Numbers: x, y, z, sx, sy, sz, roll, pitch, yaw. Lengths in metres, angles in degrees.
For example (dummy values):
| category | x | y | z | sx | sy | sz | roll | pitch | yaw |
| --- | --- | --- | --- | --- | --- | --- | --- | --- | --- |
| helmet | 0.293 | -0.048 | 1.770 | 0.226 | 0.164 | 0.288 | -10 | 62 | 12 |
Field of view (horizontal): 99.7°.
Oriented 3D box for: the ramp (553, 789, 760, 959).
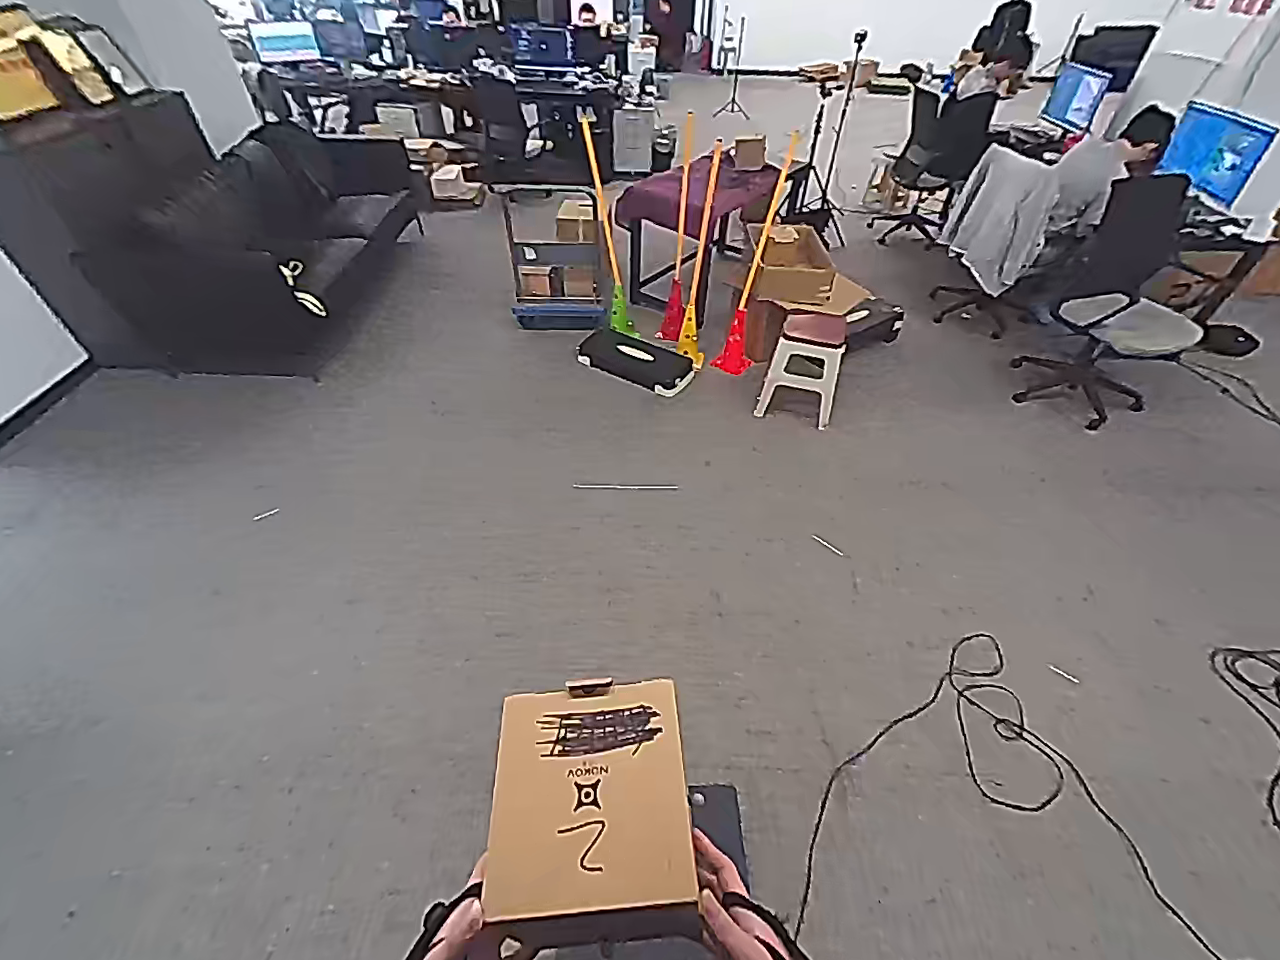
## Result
| category | x | y | z | sx | sy | sz | roll | pitch | yaw |
| --- | --- | --- | --- | --- | --- | --- | --- | --- | --- |
| ramp | 0.038 | 1.197 | 1.184 | 0.509 | 0.206 | 0.991 | -1 | 44 | -1 |
